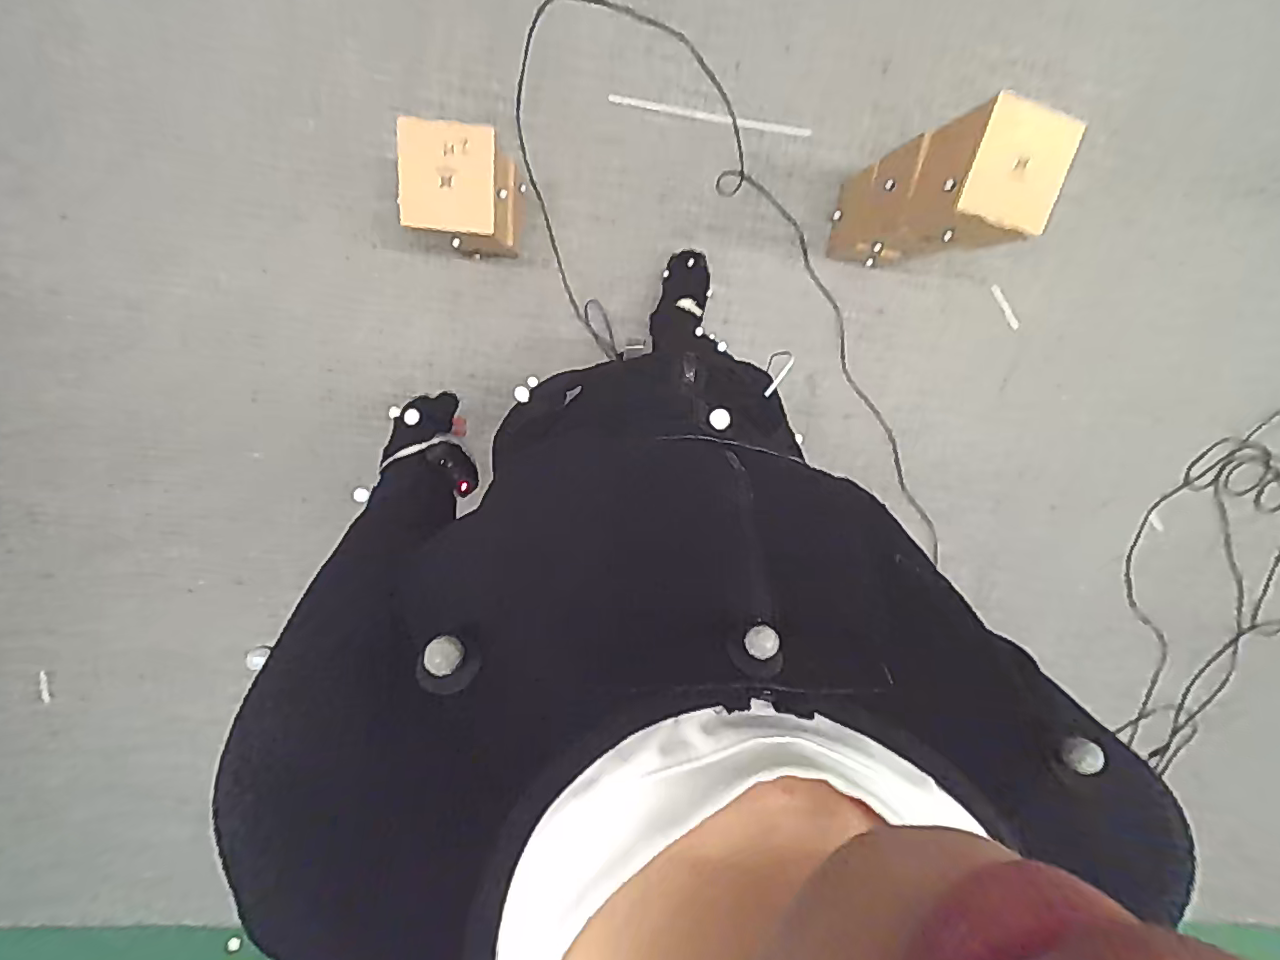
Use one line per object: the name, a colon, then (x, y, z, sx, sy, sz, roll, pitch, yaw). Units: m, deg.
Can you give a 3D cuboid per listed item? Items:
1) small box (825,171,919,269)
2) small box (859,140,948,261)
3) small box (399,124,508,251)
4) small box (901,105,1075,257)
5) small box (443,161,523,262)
small box: (0.559, -0.604, 1.278, 0.168, 0.176, 0.179, 4, 107, -10)
small box: (0.580, -0.563, 1.118, 0.168, 0.176, 0.179, 8, 104, -8)
small box: (-0.349, -0.546, 1.036, 0.168, 0.176, 0.179, 3, 105, -6)
small box: (0.603, -0.517, 0.964, 0.168, 0.176, 0.179, 13, 105, -9)
small box: (-0.352, -0.593, 1.194, 0.168, 0.176, 0.179, 4, 106, -6)
